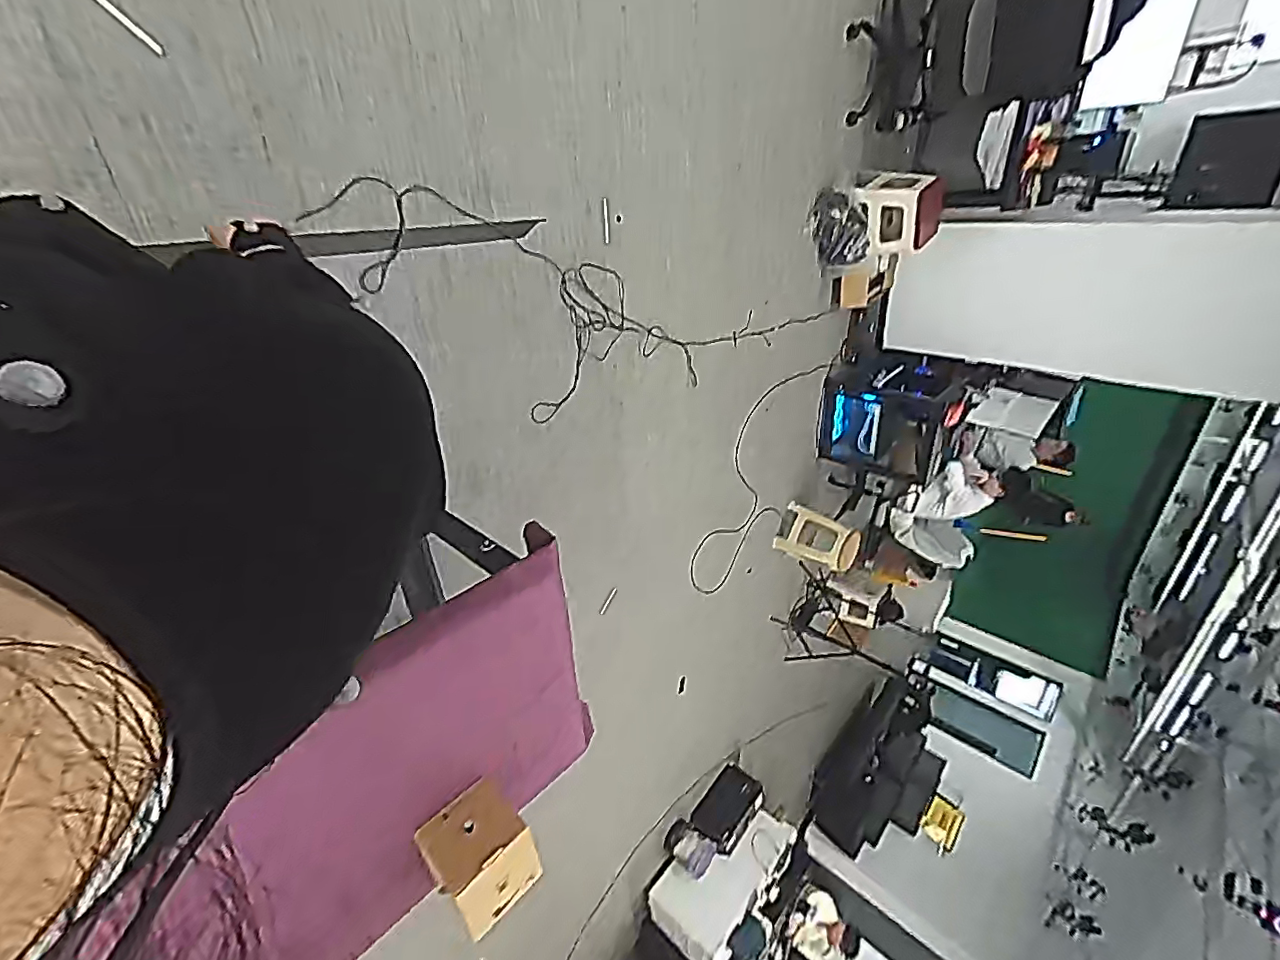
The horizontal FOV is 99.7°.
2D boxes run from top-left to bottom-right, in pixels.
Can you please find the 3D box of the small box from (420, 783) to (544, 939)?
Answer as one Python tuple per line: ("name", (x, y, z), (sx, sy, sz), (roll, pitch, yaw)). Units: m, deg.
("small box", (-0.324, 0.764, 1.109), (0.168, 0.176, 0.179), (-29, 125, -38))
